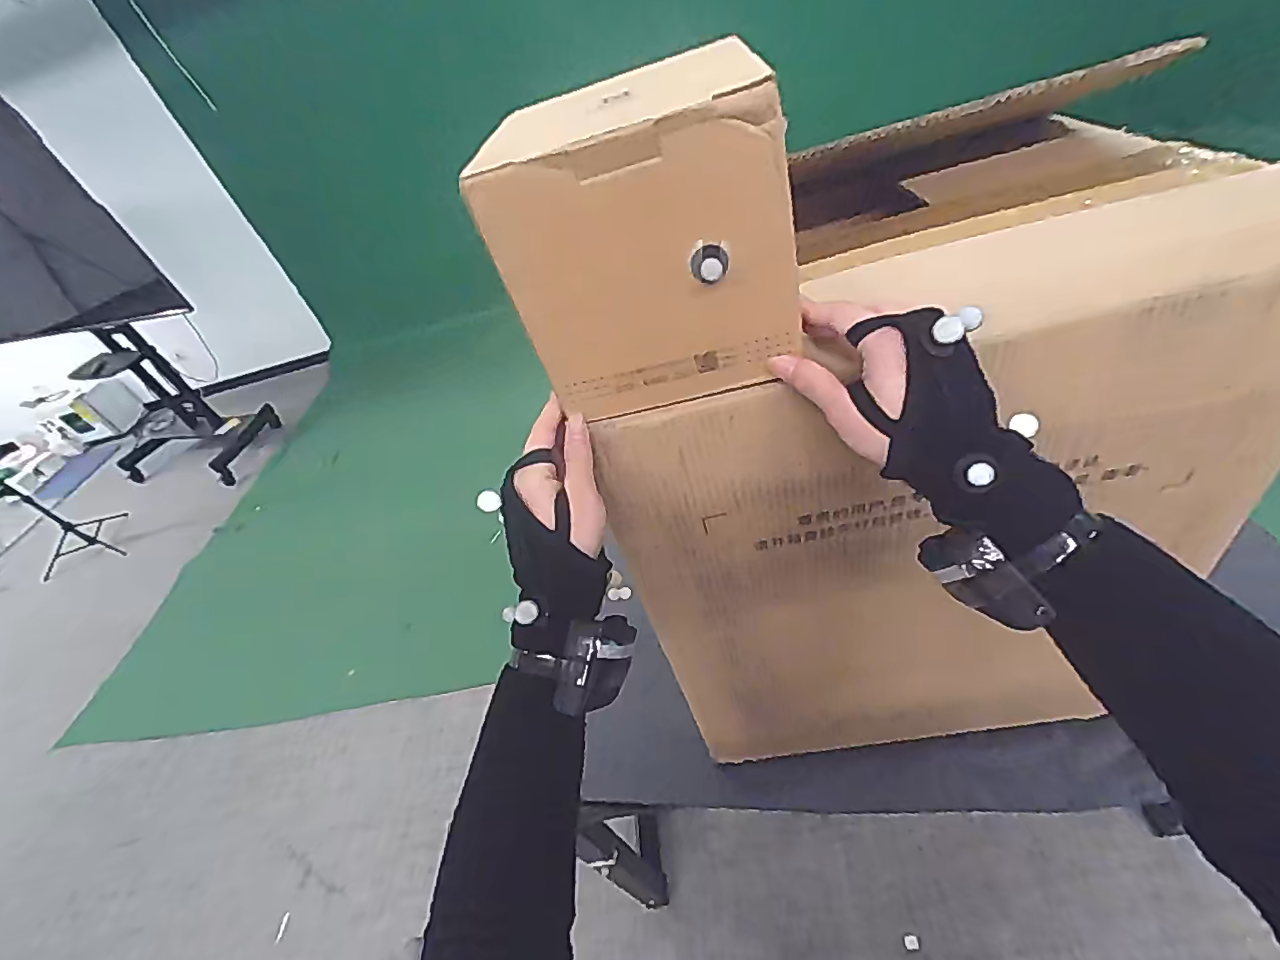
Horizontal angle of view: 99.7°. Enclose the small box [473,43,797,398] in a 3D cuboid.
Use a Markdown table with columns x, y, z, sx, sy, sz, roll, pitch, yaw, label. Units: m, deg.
| x | y | z | sx | sy | sz | roll | pitch | yaw | label |
| --- | --- | --- | --- | --- | --- | --- | --- | --- | --- |
| 0.011 | -0.174 | 0.387 | 0.168 | 0.176 | 0.179 | -11 | 41 | 11 | small box |
